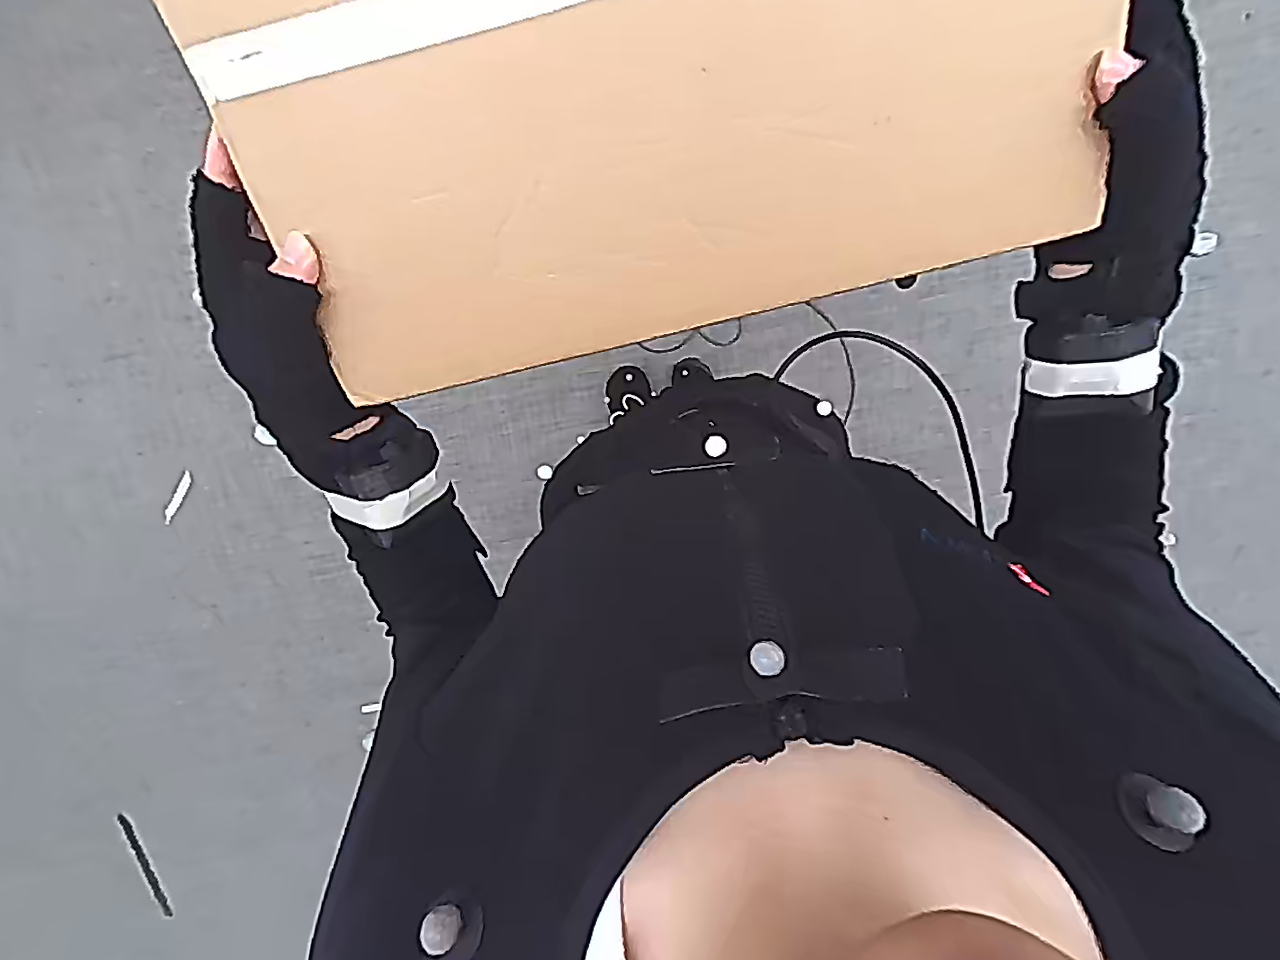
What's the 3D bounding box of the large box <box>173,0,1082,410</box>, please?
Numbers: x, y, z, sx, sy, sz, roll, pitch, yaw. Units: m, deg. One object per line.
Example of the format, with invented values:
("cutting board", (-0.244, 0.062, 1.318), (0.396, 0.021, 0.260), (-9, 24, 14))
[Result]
("large box", (-0.005, -0.283, 0.373), (0.408, 0.320, 0.320), (-13, 114, 4))
